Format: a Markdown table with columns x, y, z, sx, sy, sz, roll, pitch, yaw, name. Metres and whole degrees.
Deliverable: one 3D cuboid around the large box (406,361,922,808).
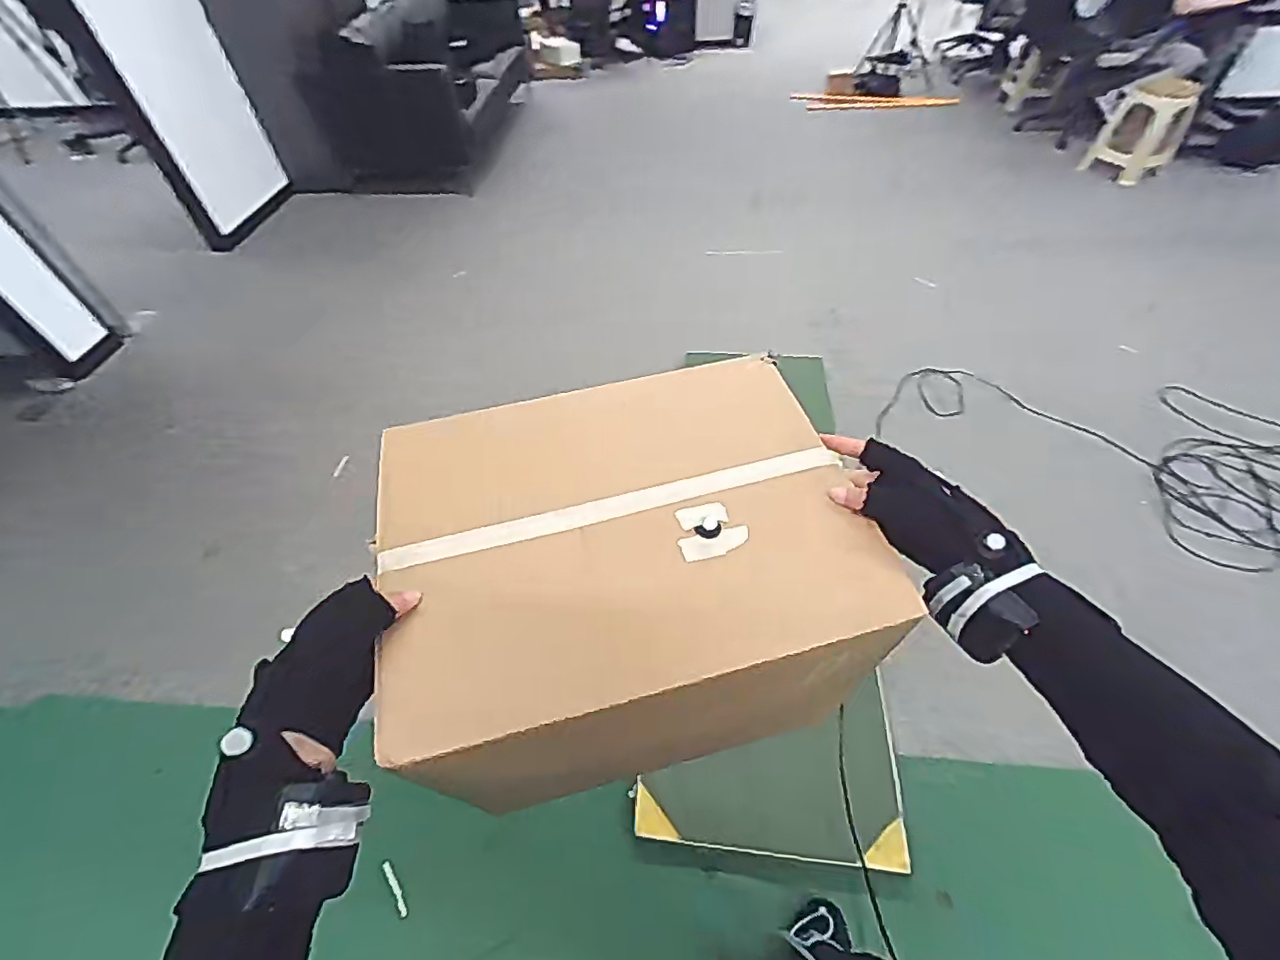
| x | y | z | sx | sy | sz | roll | pitch | yaw | name |
| --- | --- | --- | --- | --- | --- | --- | --- | --- | --- |
| -0.004 | 0.117 | 0.599 | 0.408 | 0.320 | 0.320 | -12 | 54 | -8 | large box |
